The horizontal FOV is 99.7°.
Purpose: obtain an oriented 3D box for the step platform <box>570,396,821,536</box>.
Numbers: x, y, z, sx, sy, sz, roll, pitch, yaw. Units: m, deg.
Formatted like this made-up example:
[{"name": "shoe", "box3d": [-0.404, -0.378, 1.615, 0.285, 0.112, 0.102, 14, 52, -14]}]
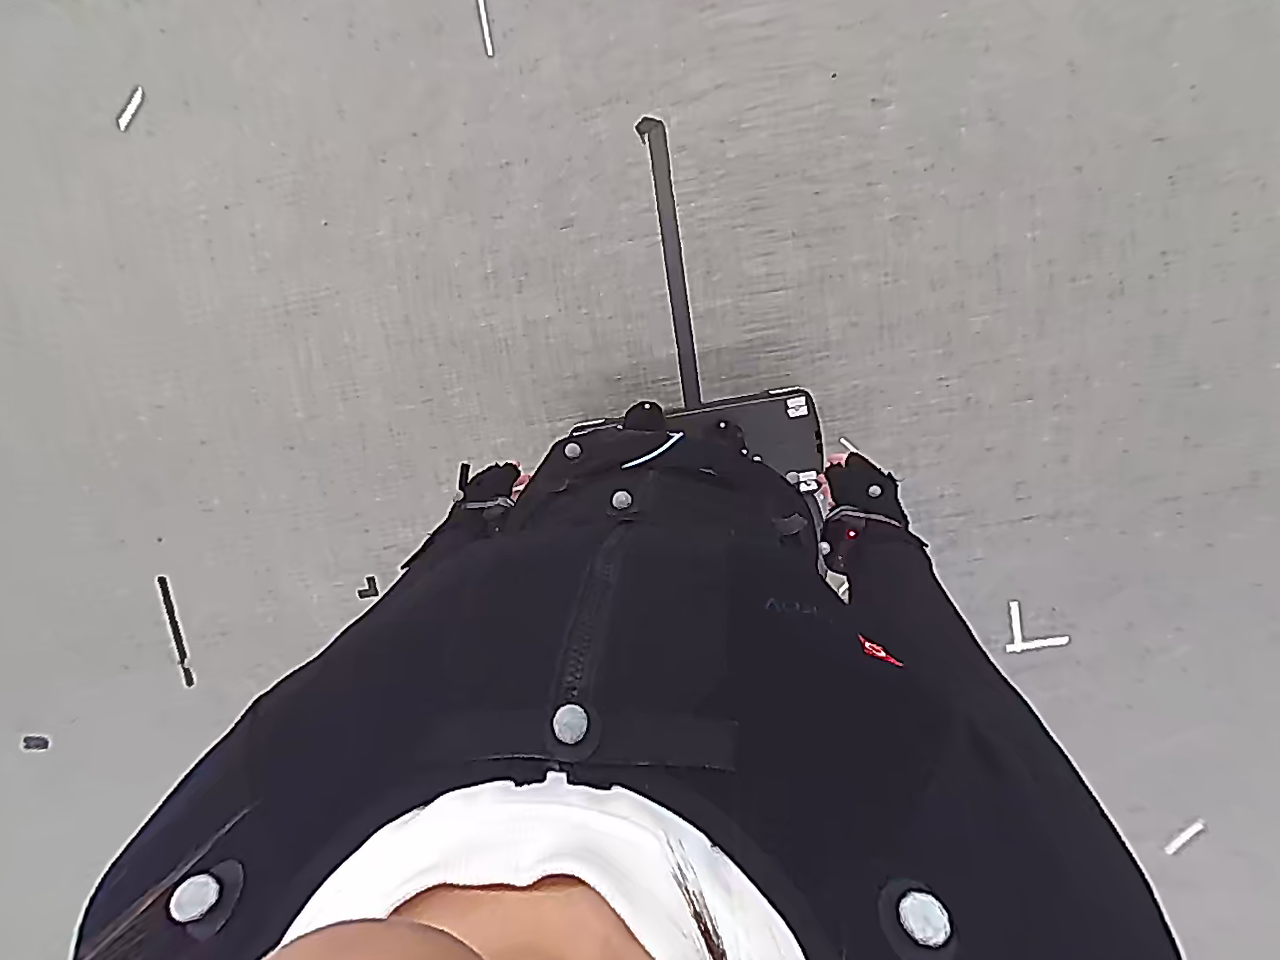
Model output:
[{"name": "step platform", "box3d": [0.148, -0.040, 1.521, 0.684, 0.204, 0.286, -10, 99, 6]}]
